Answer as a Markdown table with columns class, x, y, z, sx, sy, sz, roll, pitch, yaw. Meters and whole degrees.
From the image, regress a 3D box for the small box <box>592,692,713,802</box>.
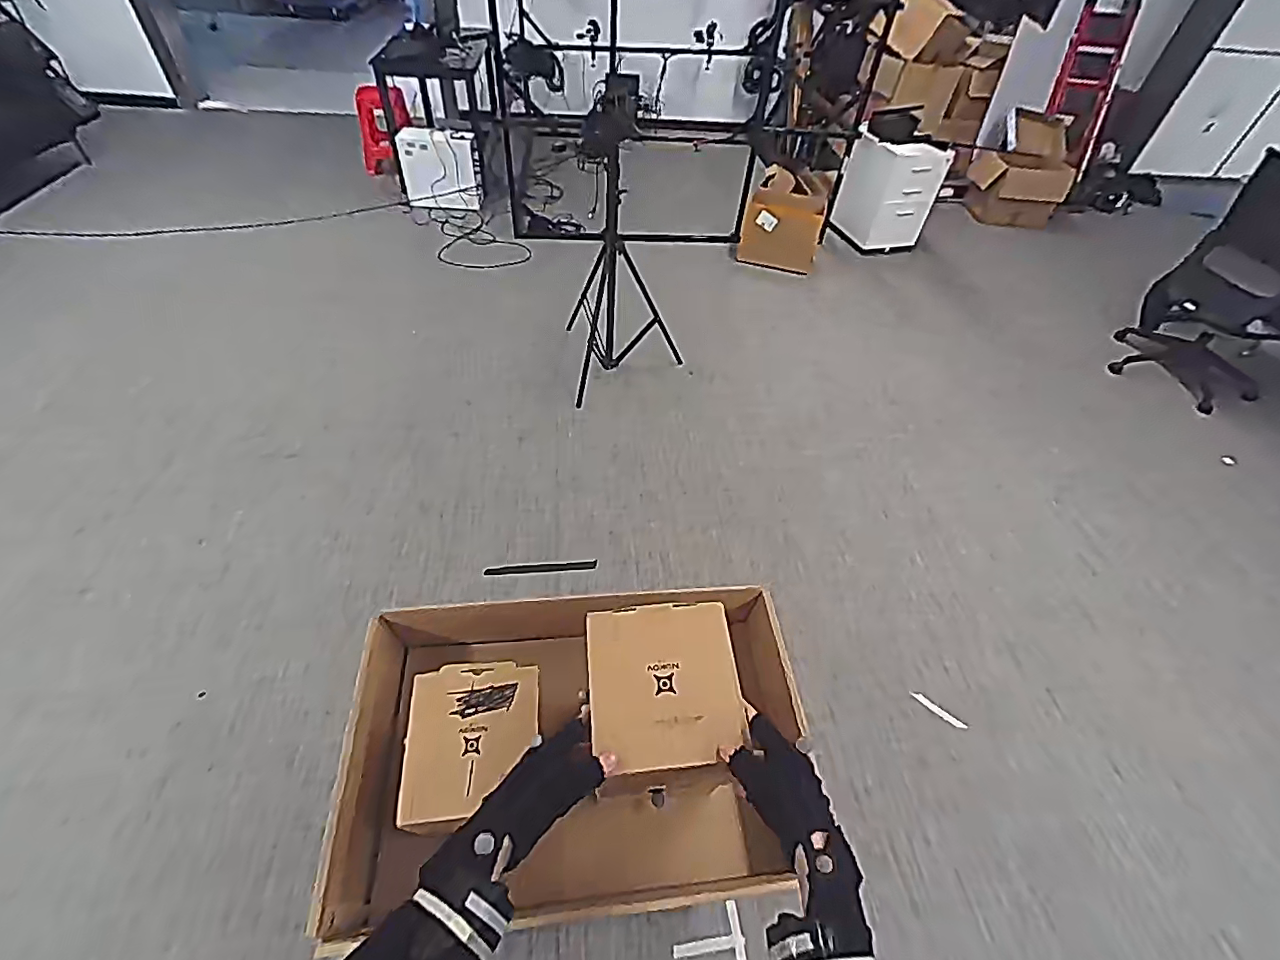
| class | x | y | z | sx | sy | sz | roll | pitch | yaw |
| --- | --- | --- | --- | --- | --- | --- | --- | --- | --- |
| small box | 0.021 | 0.359 | 0.789 | 0.179 | 0.176 | 0.168 | -3 | 52 | -6 |

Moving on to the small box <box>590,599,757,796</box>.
| class | x | y | z | sx | sy | sz | roll | pitch | yaw |
| --- | --- | --- | --- | --- | --- | --- | --- | --- | --- |
| small box | 0.027 | 0.265 | 0.656 | 0.168 | 0.176 | 0.179 | -5 | 54 | -5 |

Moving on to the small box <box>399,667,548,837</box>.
| class | x | y | z | sx | sy | sz | roll | pitch | yaw |
| --- | --- | --- | --- | --- | --- | --- | --- | --- | --- |
| small box | -0.216 | 0.378 | 0.749 | 0.168 | 0.176 | 0.179 | -2 | 54 | -8 |
